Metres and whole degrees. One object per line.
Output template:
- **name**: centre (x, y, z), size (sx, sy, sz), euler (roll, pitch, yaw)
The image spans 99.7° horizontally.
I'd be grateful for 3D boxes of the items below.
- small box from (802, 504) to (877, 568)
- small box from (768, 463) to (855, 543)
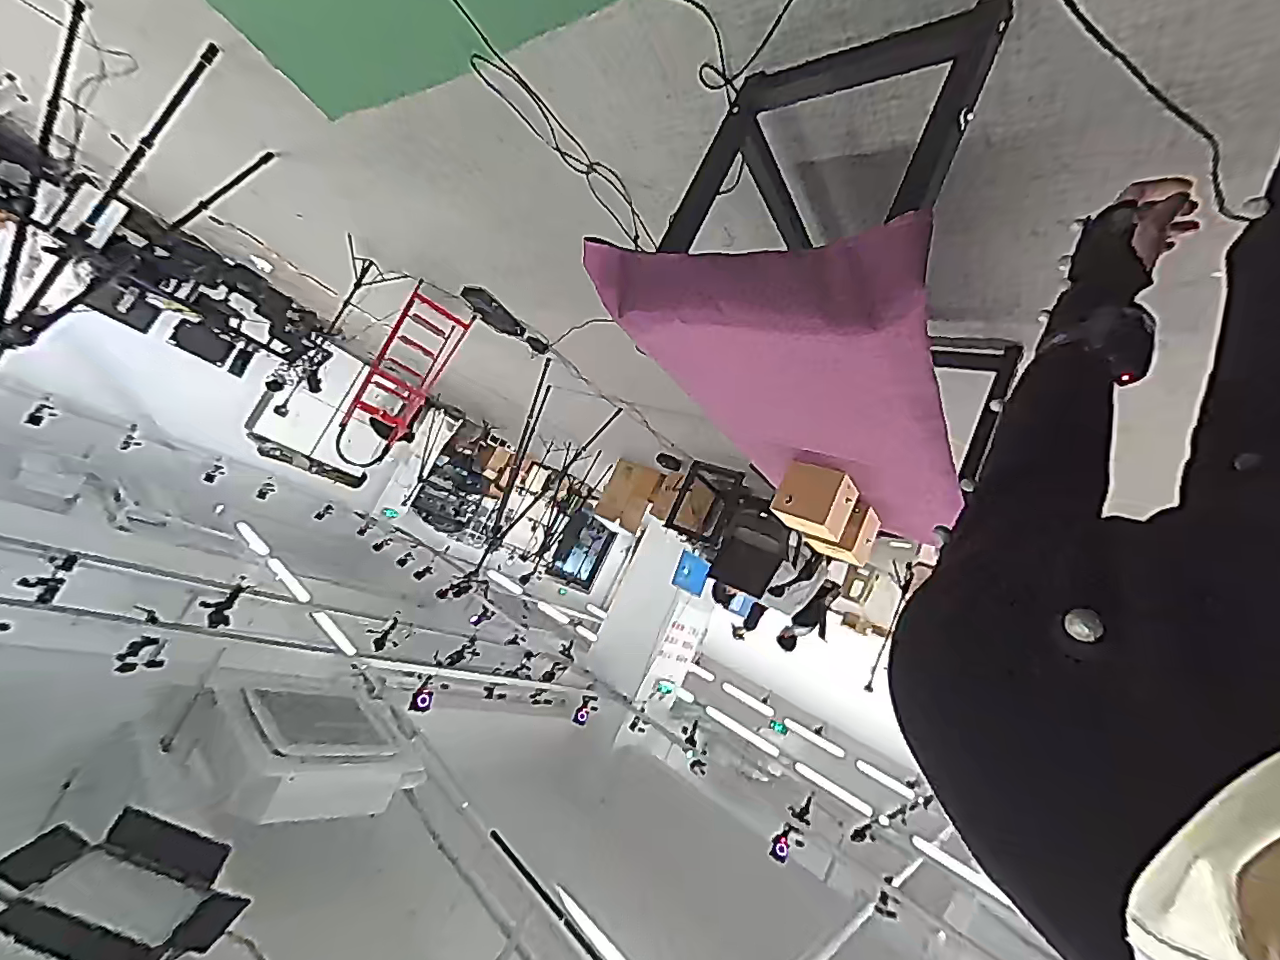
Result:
- **small box**: centre (0.668, 0.169, 1.796), size (0.168, 0.176, 0.179), euler (18, 169, 39)
- **small box**: centre (0.517, 0.065, 1.617), size (0.179, 0.176, 0.168), euler (18, 168, 39)
